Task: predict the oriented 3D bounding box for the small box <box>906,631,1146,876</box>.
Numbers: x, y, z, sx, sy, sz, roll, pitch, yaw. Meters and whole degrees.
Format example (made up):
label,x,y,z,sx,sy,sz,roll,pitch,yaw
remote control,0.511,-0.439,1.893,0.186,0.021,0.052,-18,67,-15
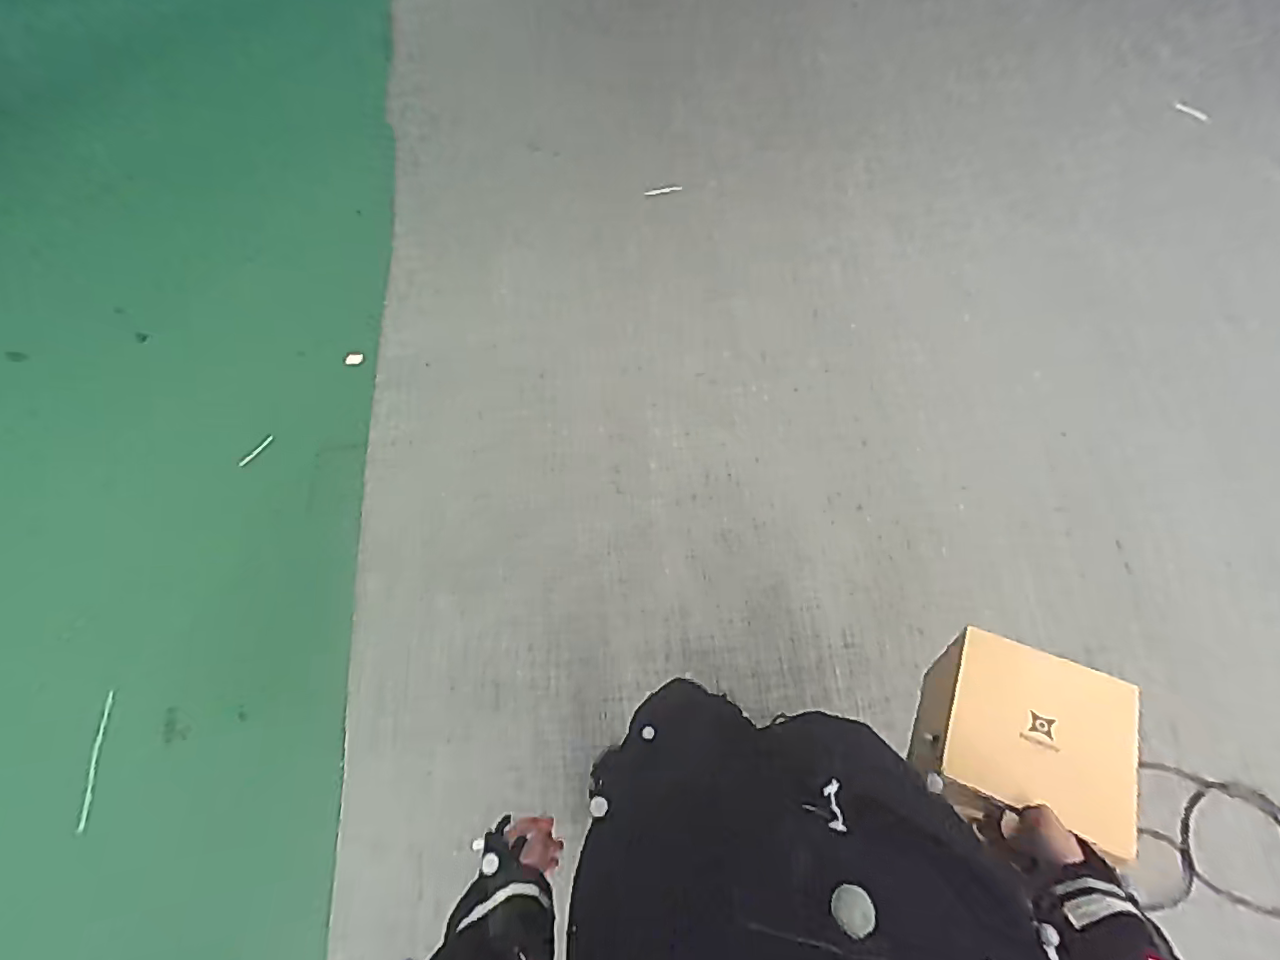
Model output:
label,x,y,z,sx,sy,sz,roll,pitch,yaw
small box,0.421,0.308,0.611,0.168,0.176,0.179,19,59,21
